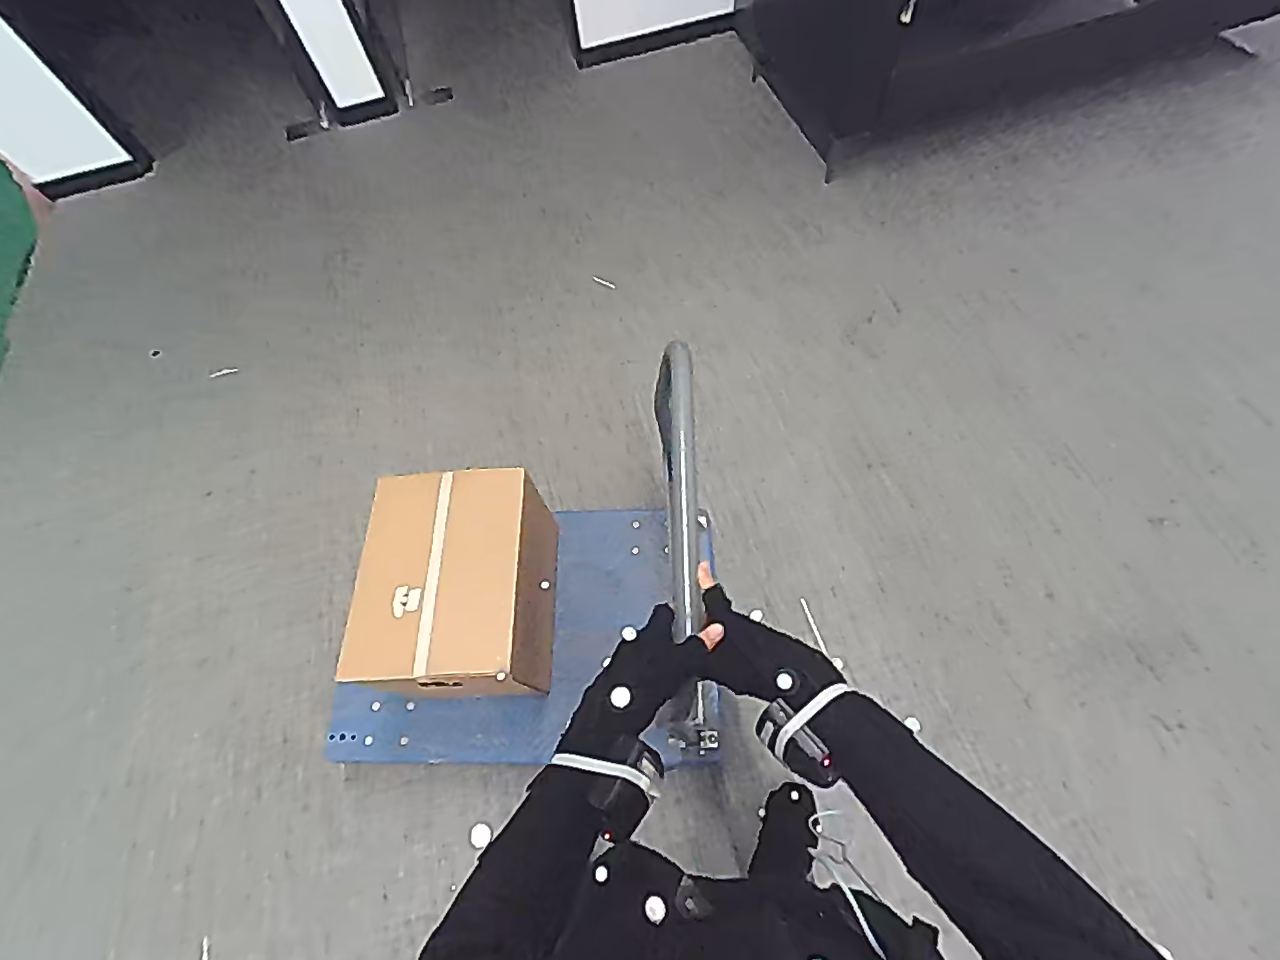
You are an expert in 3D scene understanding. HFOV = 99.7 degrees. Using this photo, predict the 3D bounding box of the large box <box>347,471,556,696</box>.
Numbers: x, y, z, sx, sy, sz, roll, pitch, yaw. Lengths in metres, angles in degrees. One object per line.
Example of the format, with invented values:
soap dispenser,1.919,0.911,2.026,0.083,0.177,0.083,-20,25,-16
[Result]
large box,-0.364,0.233,1.166,0.320,0.320,0.408,-4,63,4
